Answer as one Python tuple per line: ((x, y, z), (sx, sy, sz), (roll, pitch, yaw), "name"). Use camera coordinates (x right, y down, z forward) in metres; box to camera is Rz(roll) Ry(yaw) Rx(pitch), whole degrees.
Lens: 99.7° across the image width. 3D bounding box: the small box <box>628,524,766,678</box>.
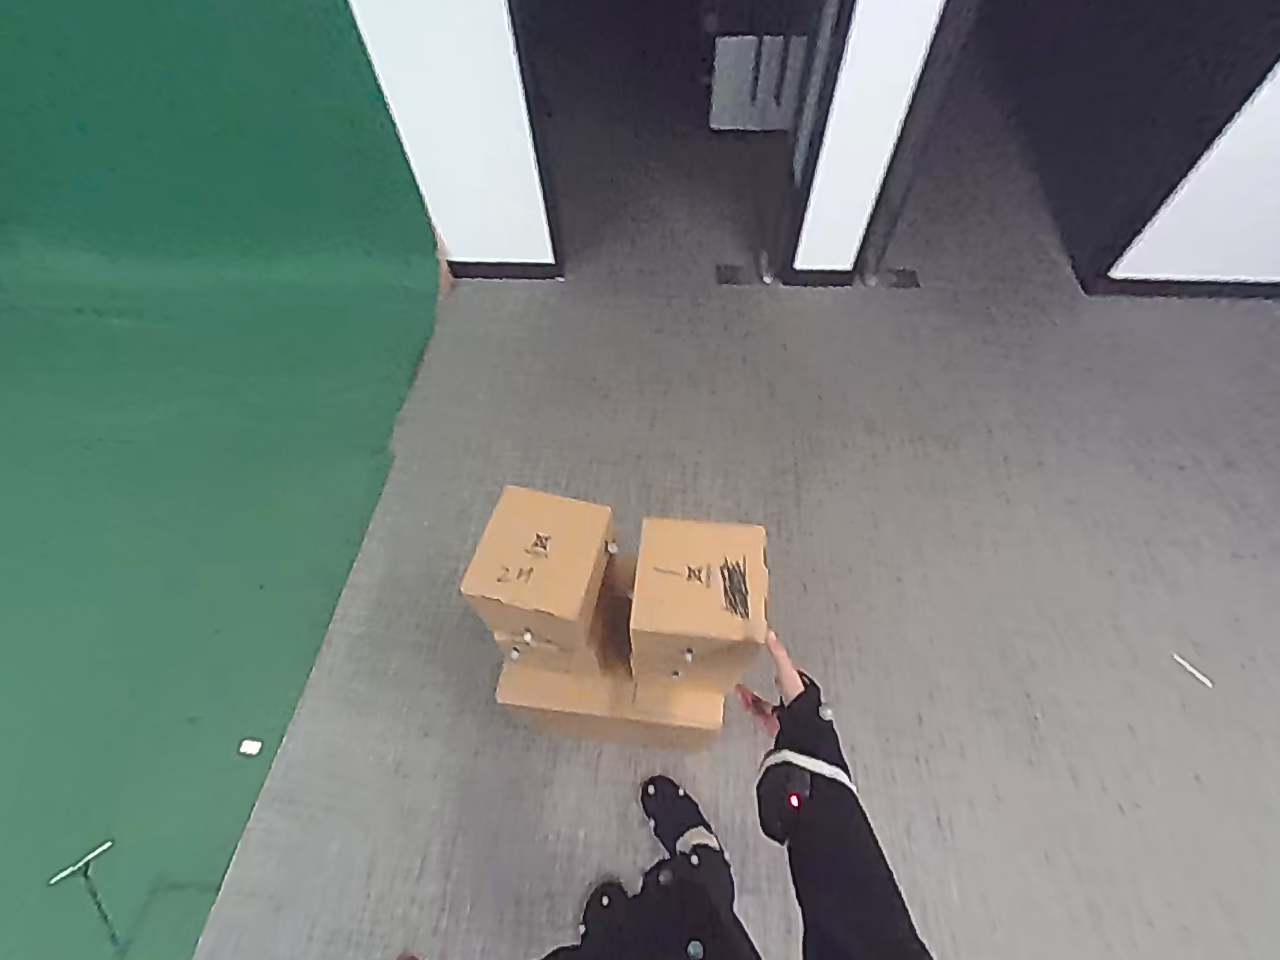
((0.083, 0.183, 0.792), (0.179, 0.176, 0.168), (5, 57, 6), "small box")
